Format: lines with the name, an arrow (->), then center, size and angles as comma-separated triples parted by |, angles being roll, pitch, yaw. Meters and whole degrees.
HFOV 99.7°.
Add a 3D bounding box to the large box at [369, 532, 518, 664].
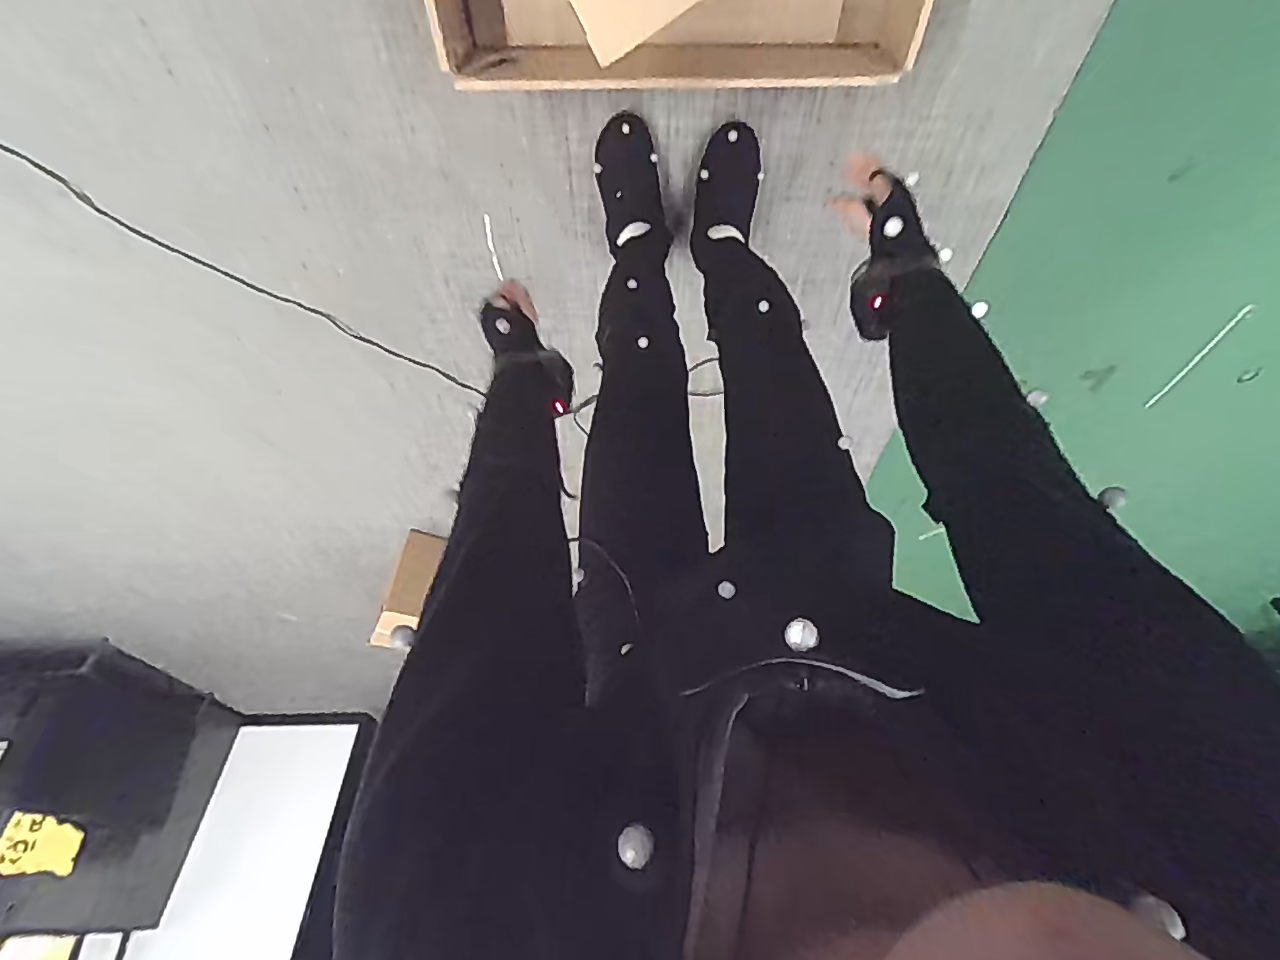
large box -> -0.698, 0.435, 1.954 | 0.408, 0.320, 0.320 | 21, 136, -22
